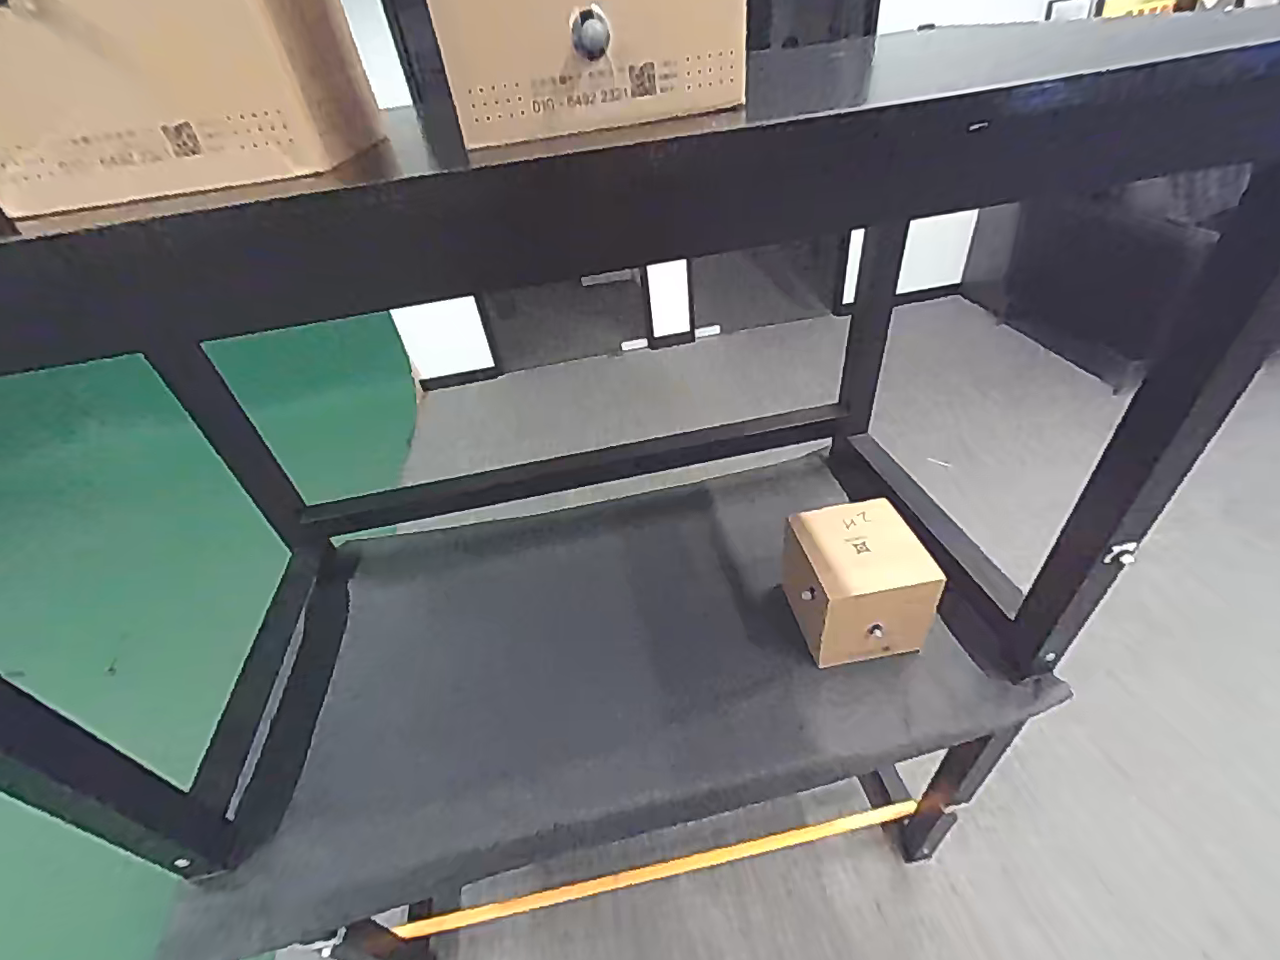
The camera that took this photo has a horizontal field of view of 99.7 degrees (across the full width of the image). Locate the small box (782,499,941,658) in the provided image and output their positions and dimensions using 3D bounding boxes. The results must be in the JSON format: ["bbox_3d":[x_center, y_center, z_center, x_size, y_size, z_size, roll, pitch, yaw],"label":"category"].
[{"bbox_3d":[0.330,0.158,0.843,0.168,0.176,0.179,-9,38,-2],"label":"small box"}]

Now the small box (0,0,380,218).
[{"bbox_3d":[-0.276,-0.263,0.311,0.168,0.176,0.179,-11,39,-3],"label":"small box"}]
